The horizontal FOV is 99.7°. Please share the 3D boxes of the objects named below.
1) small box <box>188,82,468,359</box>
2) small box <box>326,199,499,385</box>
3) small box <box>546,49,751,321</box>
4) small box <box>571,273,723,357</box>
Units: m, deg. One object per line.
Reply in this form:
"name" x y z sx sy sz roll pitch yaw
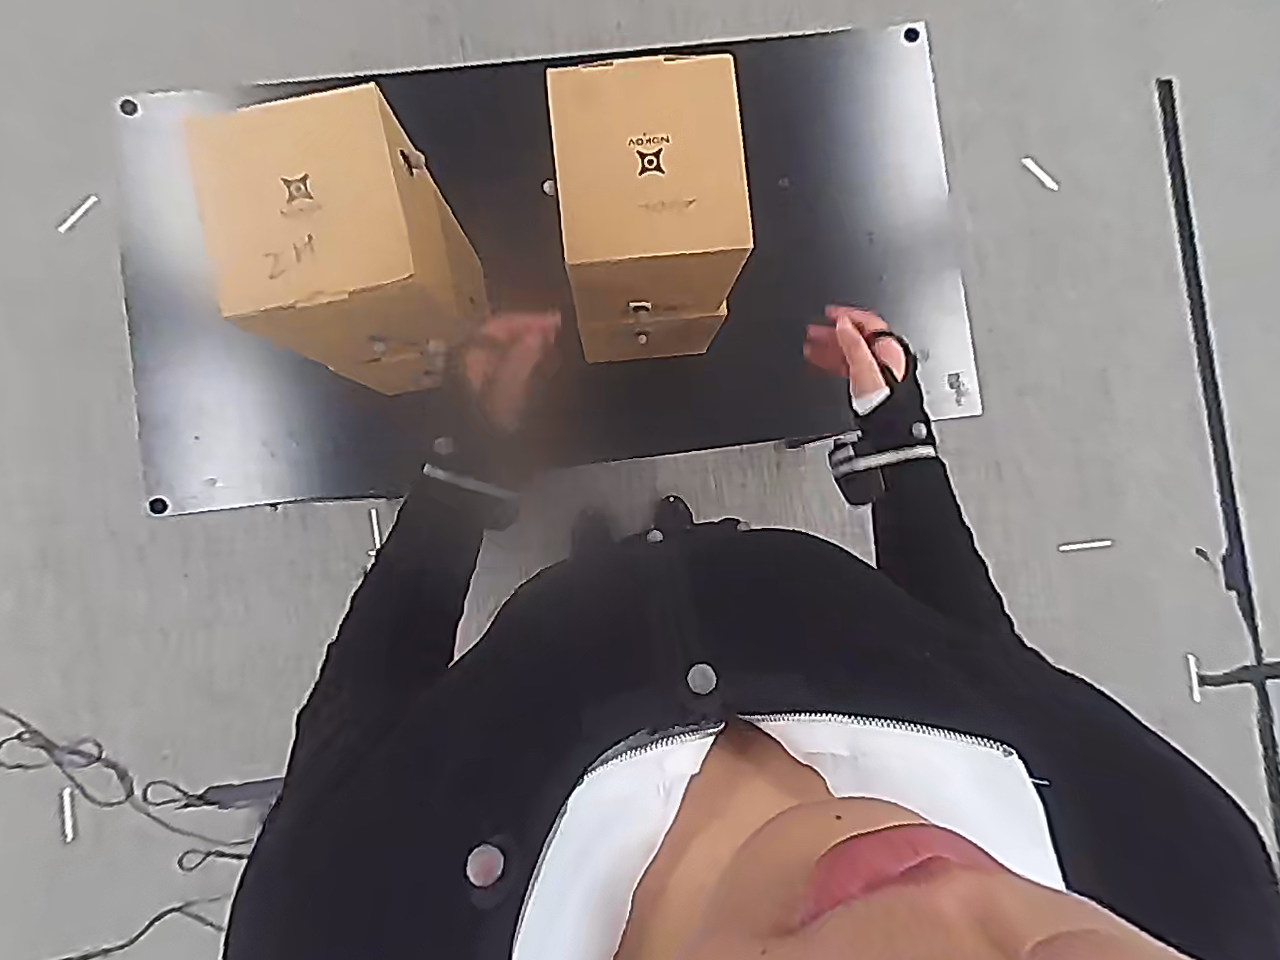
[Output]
"small box" -0.288 -0.238 0.537 0.168 0.176 0.179 -13 89 -2
"small box" -0.294 -0.228 0.703 0.168 0.176 0.179 -11 89 -2
"small box" 0.005 -0.282 0.550 0.168 0.176 0.179 -7 88 0
"small box" 0.002 -0.267 0.713 0.179 0.176 0.168 -6 88 -3
